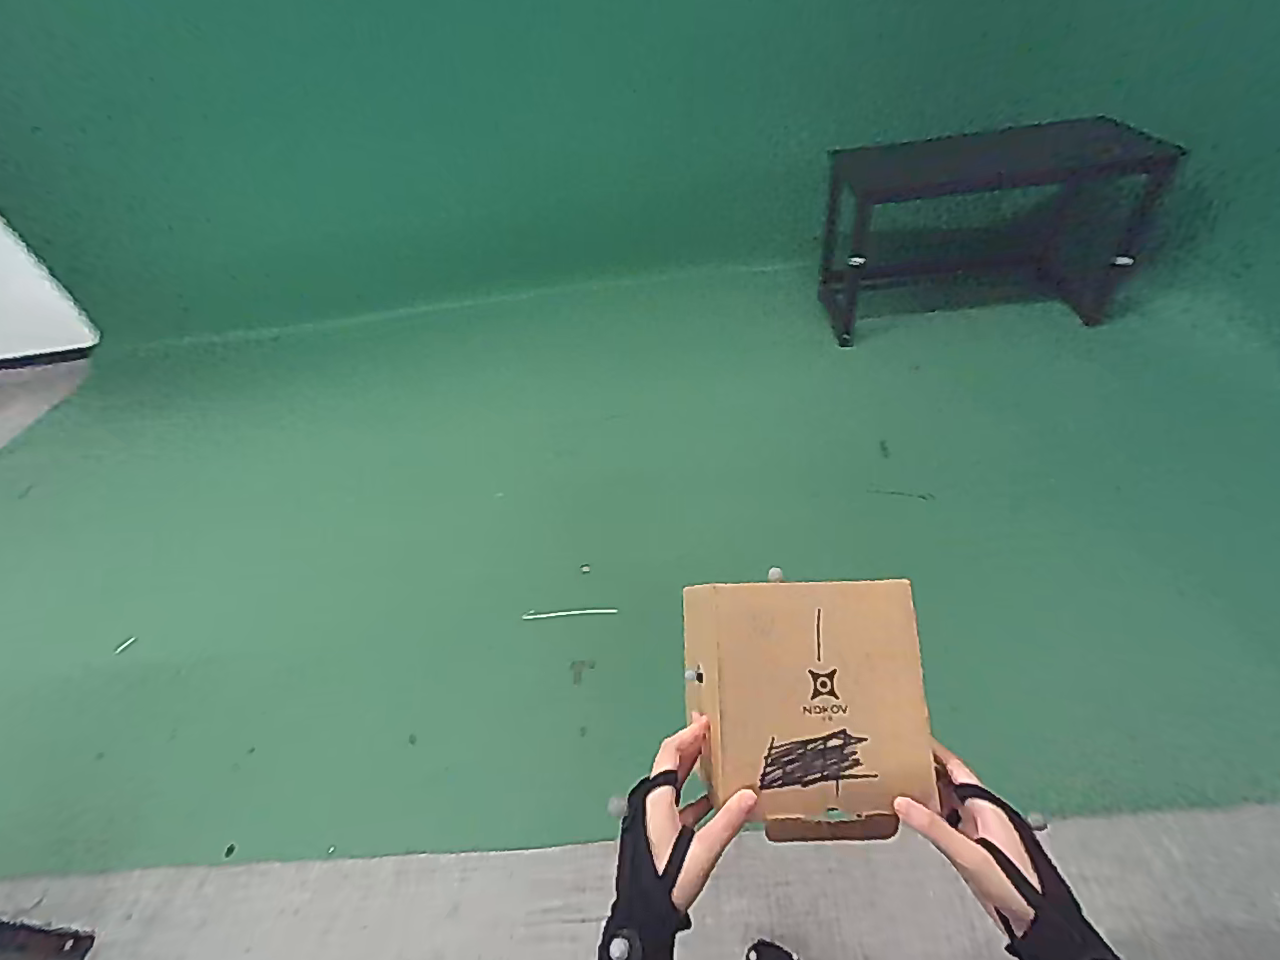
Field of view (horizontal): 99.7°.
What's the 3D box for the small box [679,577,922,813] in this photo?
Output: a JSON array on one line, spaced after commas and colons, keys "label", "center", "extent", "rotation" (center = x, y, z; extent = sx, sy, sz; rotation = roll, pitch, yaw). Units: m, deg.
[{"label": "small box", "center": [0.130, 0.183, 0.504], "extent": [0.168, 0.176, 0.179], "rotation": [1, 76, -5]}]
